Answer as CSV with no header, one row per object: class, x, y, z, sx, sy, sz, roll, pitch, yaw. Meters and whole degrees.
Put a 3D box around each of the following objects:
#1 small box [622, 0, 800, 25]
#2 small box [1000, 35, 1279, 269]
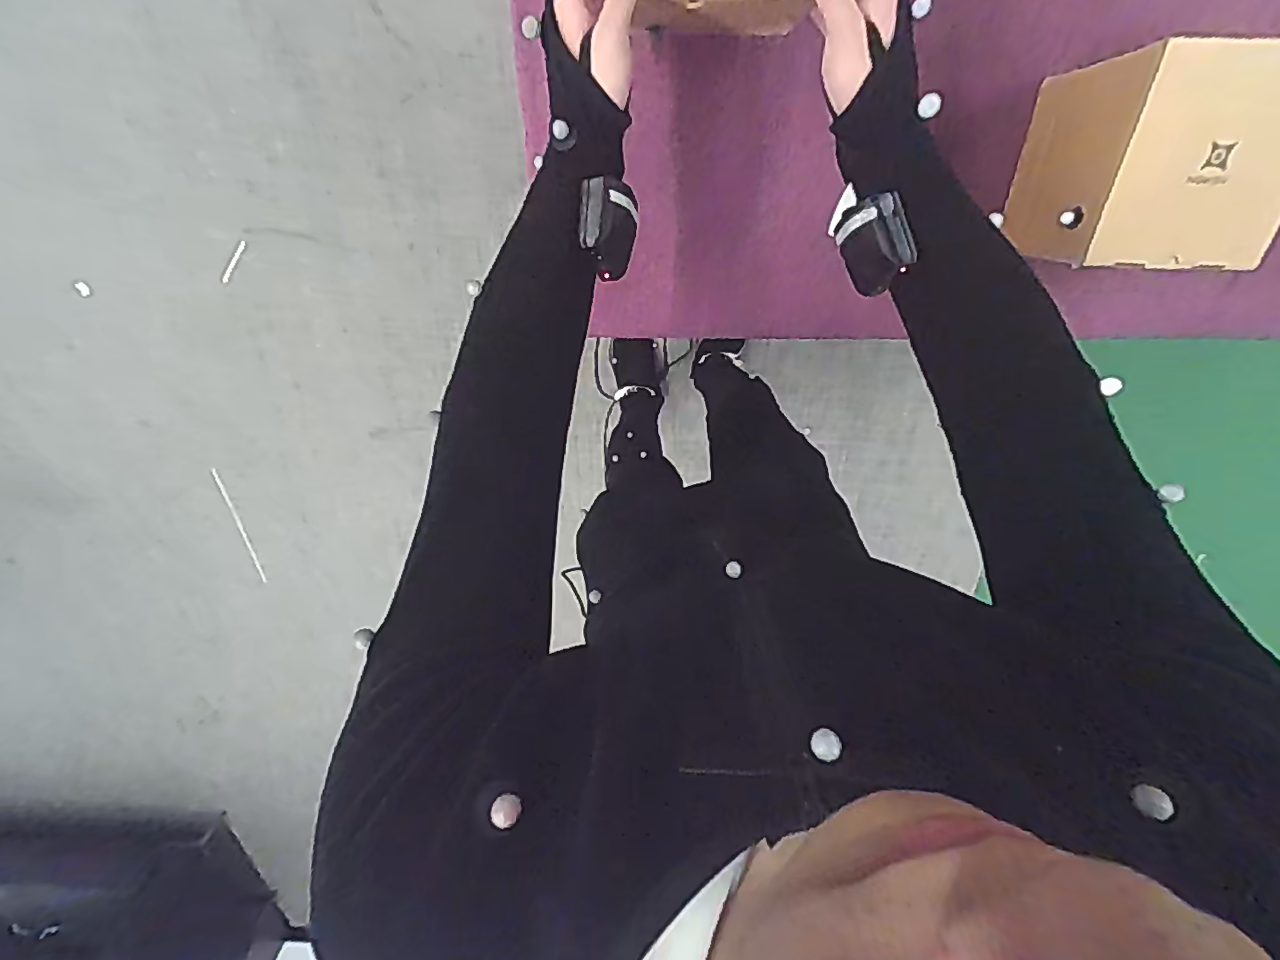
small box,0.063,-0.484,0.425,0.168,0.176,0.179,2,120,1
small box,0.510,-0.318,0.548,0.168,0.176,0.179,2,119,2
